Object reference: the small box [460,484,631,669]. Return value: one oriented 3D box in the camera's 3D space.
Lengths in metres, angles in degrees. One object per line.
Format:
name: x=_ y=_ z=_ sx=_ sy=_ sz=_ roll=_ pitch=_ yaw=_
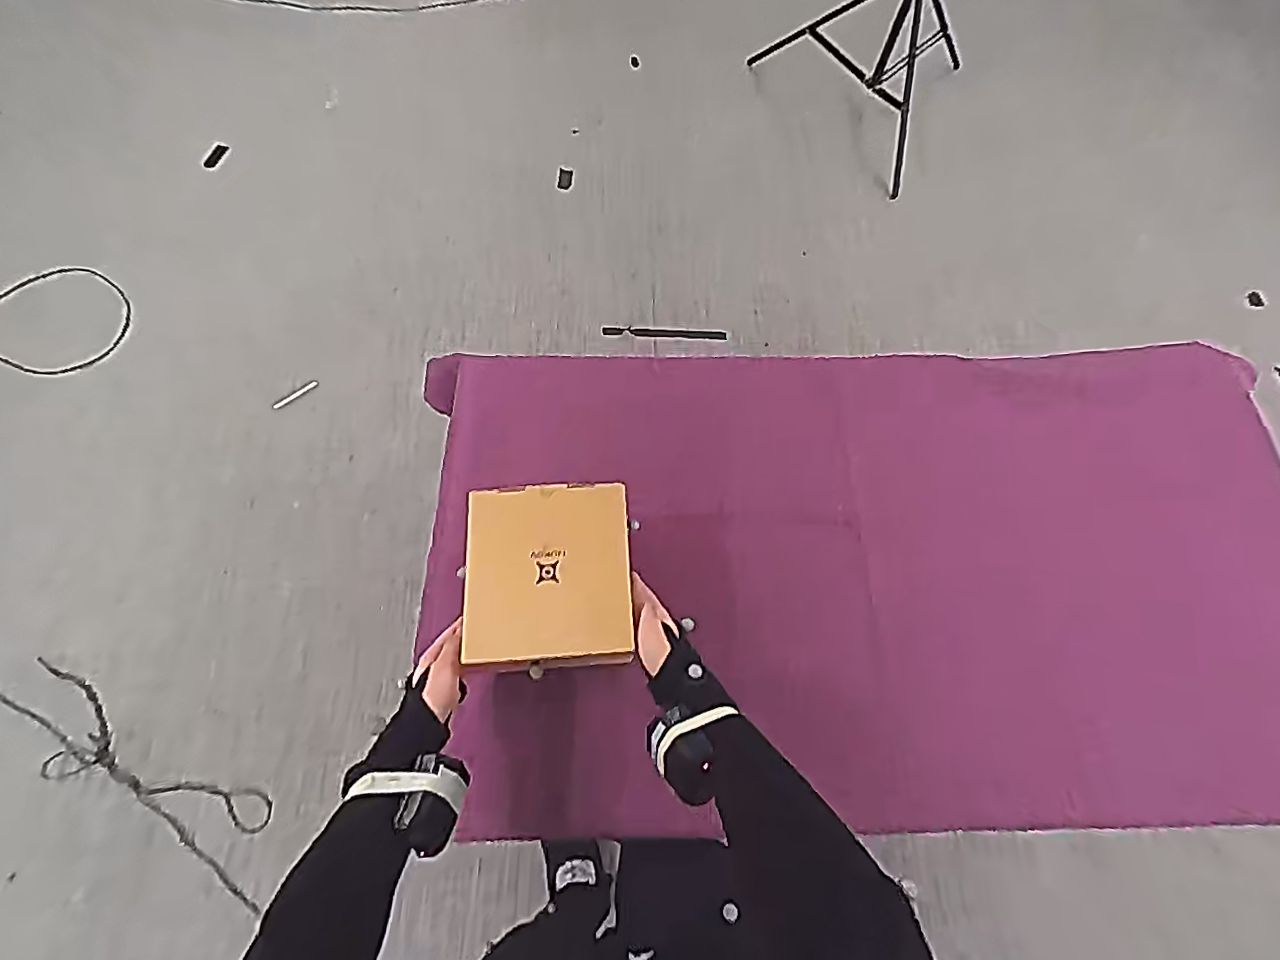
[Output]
small box: x=-0.097 y=0.119 z=0.618 sx=0.168 sy=0.176 sz=0.179 roll=-4 pitch=67 yaw=-3
